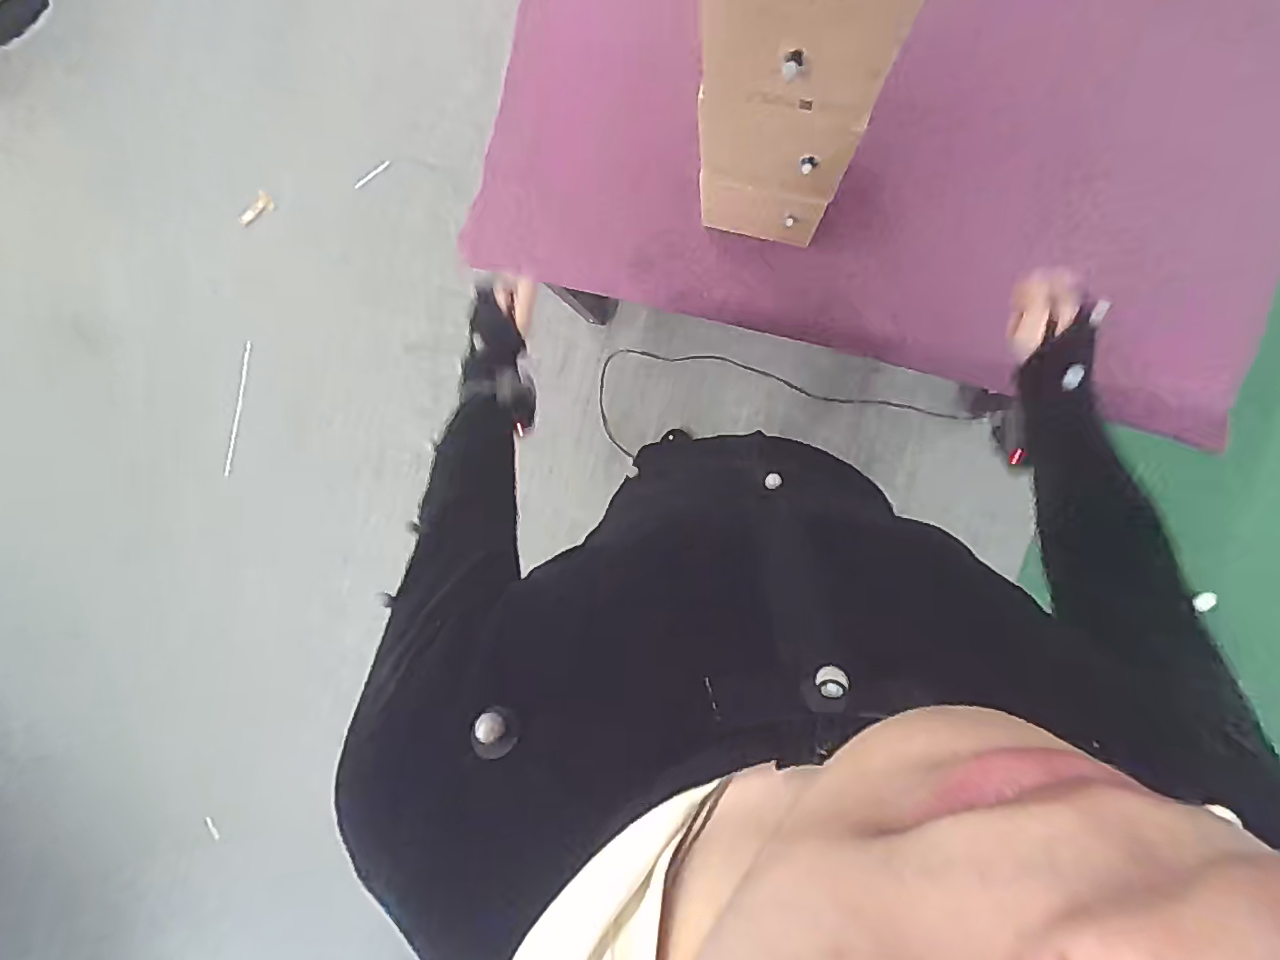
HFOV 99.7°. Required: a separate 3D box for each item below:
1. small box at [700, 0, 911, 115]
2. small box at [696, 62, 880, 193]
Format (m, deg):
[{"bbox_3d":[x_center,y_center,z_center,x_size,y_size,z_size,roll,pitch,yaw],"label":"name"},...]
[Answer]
[{"bbox_3d":[0.151,-0.451,0.457,0.168,0.176,0.179,14,96,6],"label":"small box"},{"bbox_3d":[0.172,-0.456,0.618,0.179,0.176,0.168,16,96,7],"label":"small box"}]
